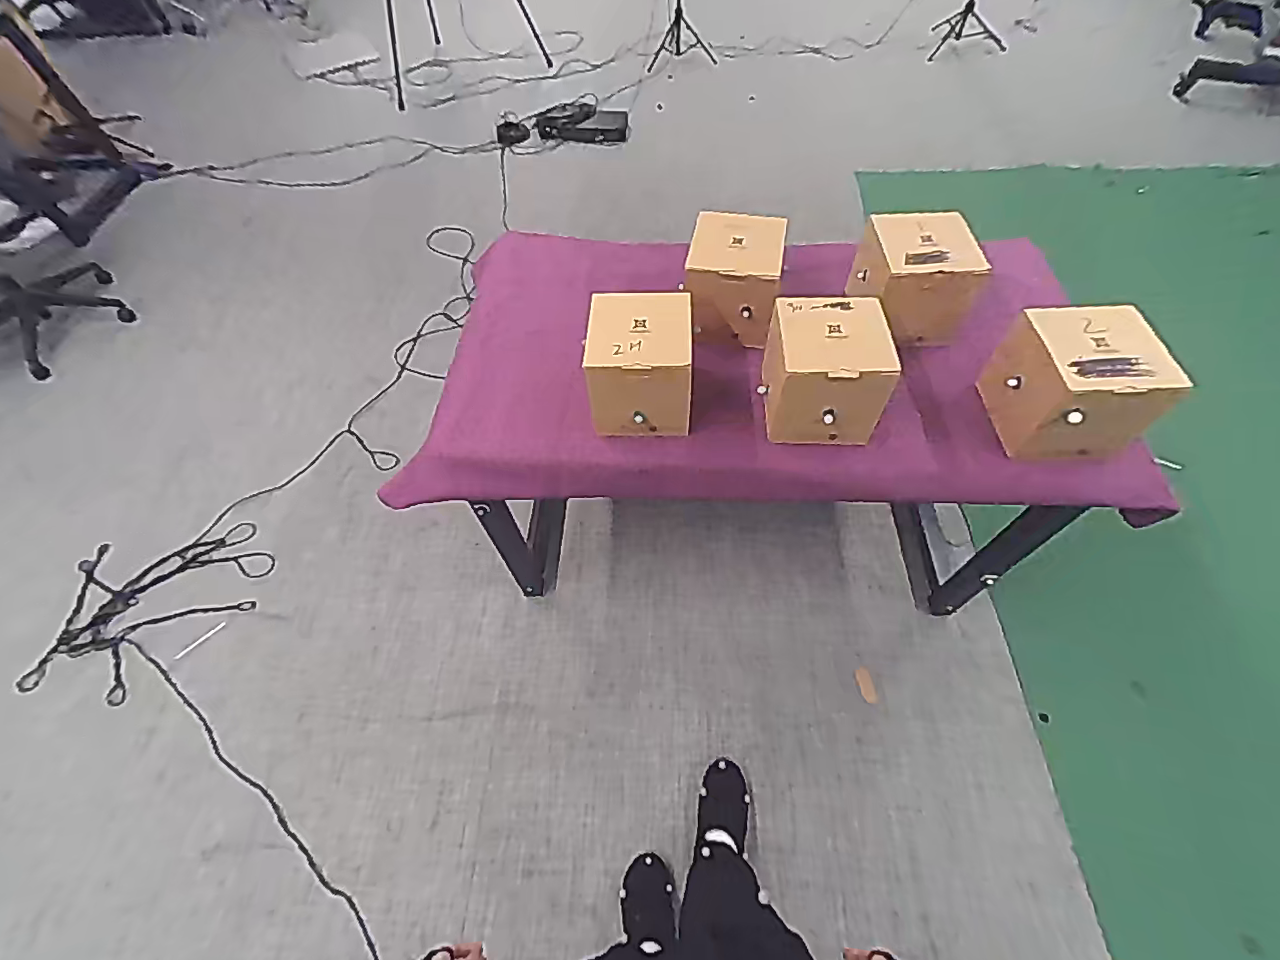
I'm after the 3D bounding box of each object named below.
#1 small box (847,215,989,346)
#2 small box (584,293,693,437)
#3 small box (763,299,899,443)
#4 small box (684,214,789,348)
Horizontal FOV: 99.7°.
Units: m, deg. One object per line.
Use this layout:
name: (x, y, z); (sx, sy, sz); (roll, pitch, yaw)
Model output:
small box: (0.504, -0.365, 1.009); (0.168, 0.176, 0.179); (0, 55, 2)
small box: (0.004, -0.193, 0.917); (0.168, 0.176, 0.179); (1, 56, 4)
small box: (0.301, -0.175, 0.892); (0.168, 0.176, 0.179); (2, 56, 4)
small box: (0.179, -0.376, 1.032); (0.168, 0.176, 0.179); (10, 58, 8)
